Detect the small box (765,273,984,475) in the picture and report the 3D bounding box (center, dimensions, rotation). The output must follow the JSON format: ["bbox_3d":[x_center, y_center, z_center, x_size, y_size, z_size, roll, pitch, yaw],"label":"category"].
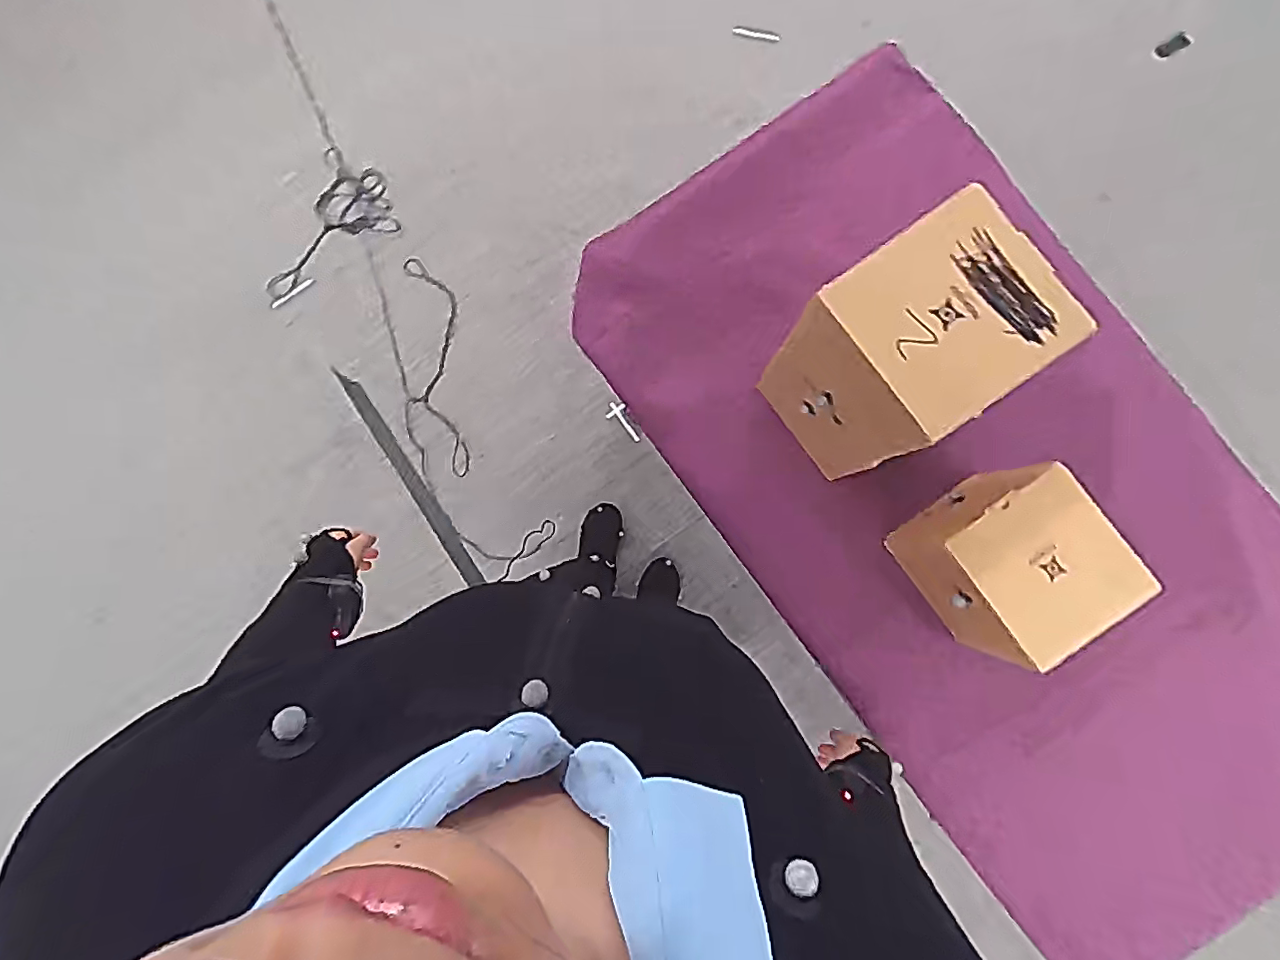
[{"bbox_3d":[0.287,-0.124,0.709,0.168,0.176,0.179,-35,84,-1],"label":"small box"}]

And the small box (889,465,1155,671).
[{"bbox_3d":[0.457,0.103,0.680,0.168,0.176,0.179,-34,83,-1],"label":"small box"}]
